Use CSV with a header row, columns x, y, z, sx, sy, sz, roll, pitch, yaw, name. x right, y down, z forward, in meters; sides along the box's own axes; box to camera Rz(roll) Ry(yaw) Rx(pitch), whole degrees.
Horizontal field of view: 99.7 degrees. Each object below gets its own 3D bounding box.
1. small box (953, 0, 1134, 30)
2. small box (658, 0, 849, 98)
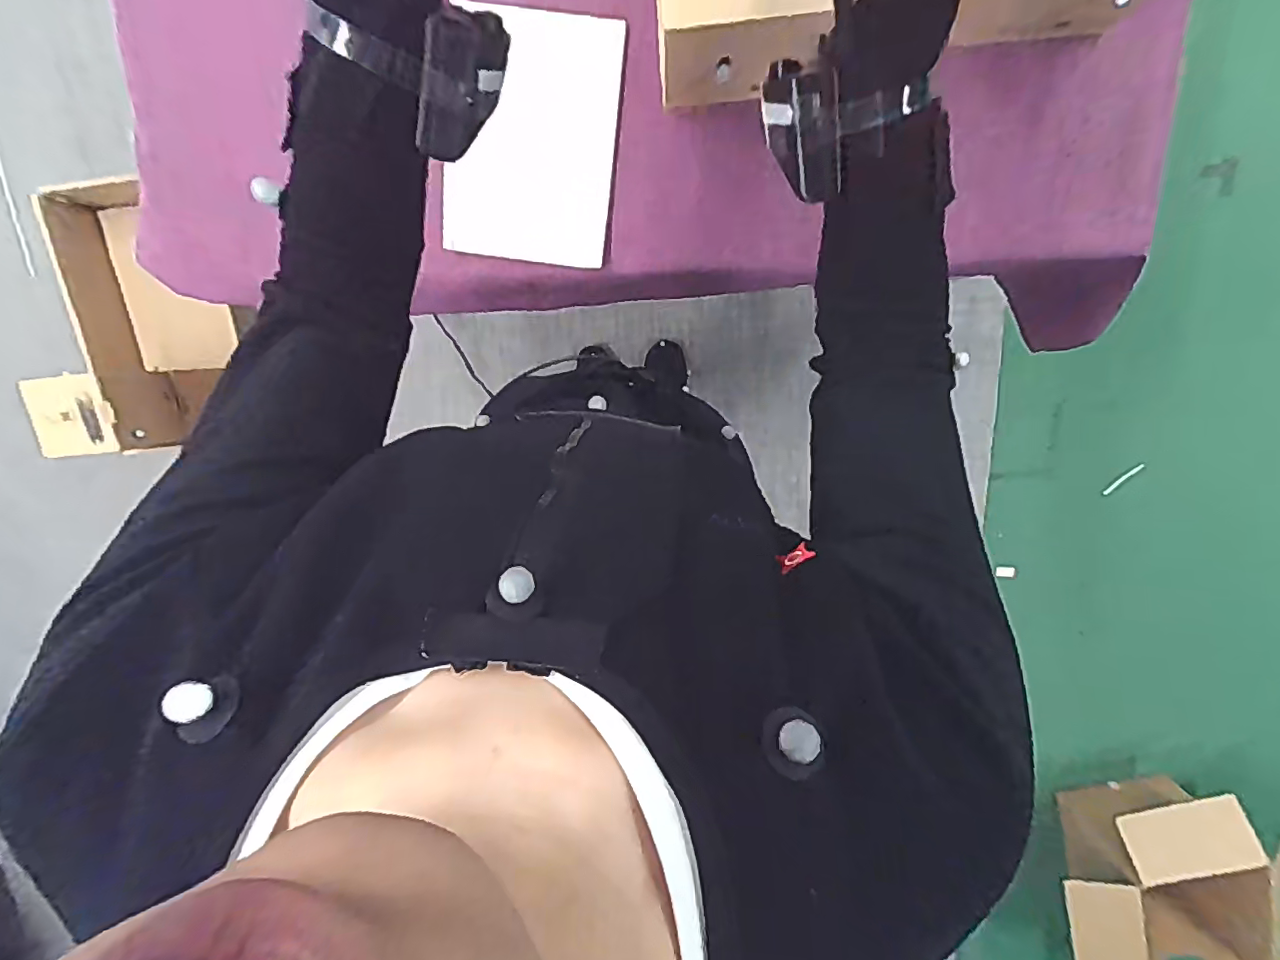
x,y,z,sx,sy,sz,roll,pitch,yaw,name
0.415,-0.551,0.494,0.168,0.176,0.179,-1,104,3,small box
0.100,-0.502,0.525,0.168,0.176,0.179,-4,103,4,small box
